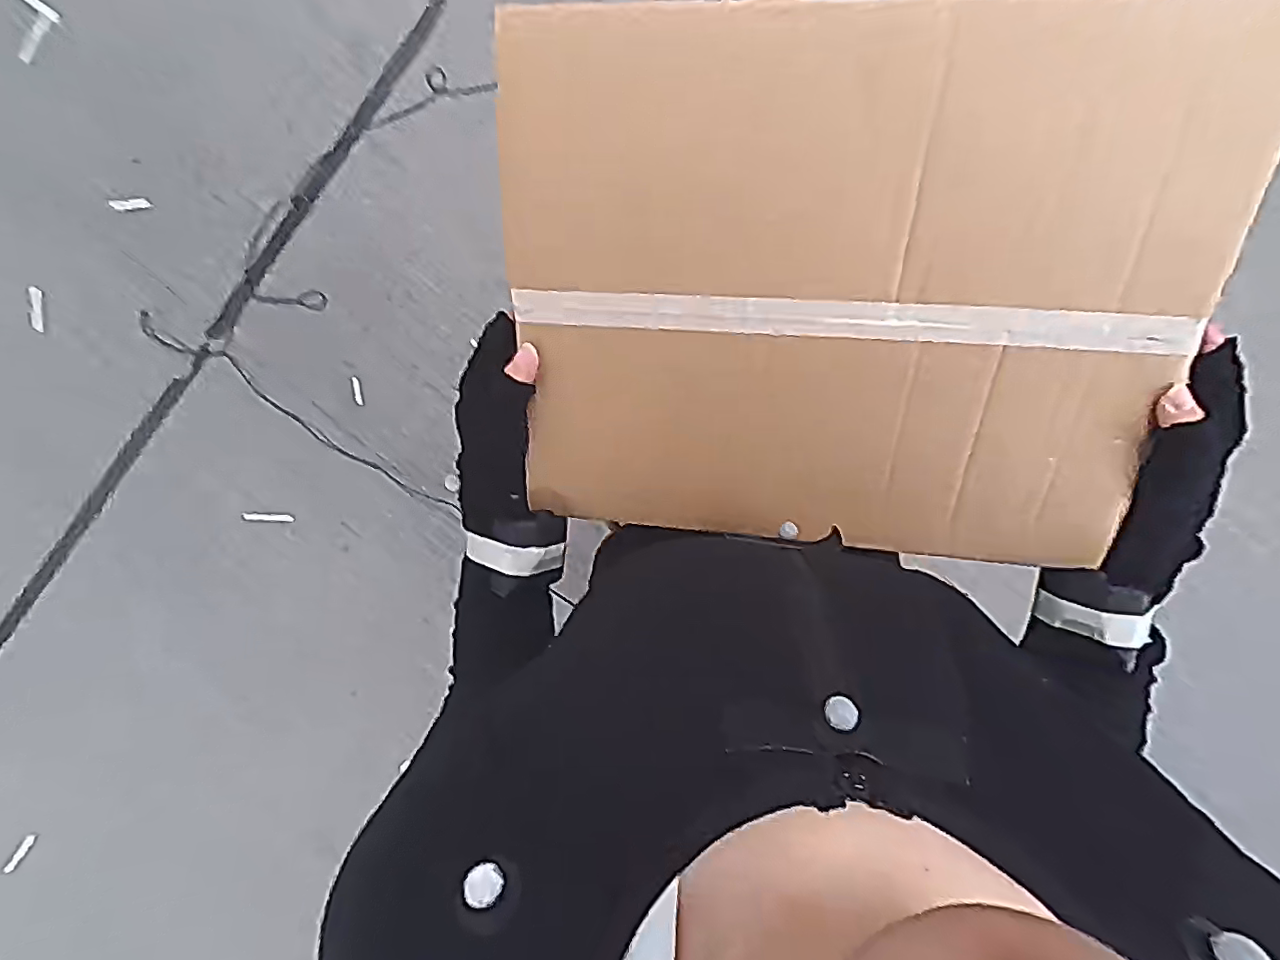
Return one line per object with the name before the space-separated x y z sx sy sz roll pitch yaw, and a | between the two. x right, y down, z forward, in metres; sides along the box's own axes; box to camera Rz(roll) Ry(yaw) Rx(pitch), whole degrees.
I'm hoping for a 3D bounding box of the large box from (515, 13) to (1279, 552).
large box | 0.140 -0.162 0.482 0.408 0.320 0.320 5 116 7
